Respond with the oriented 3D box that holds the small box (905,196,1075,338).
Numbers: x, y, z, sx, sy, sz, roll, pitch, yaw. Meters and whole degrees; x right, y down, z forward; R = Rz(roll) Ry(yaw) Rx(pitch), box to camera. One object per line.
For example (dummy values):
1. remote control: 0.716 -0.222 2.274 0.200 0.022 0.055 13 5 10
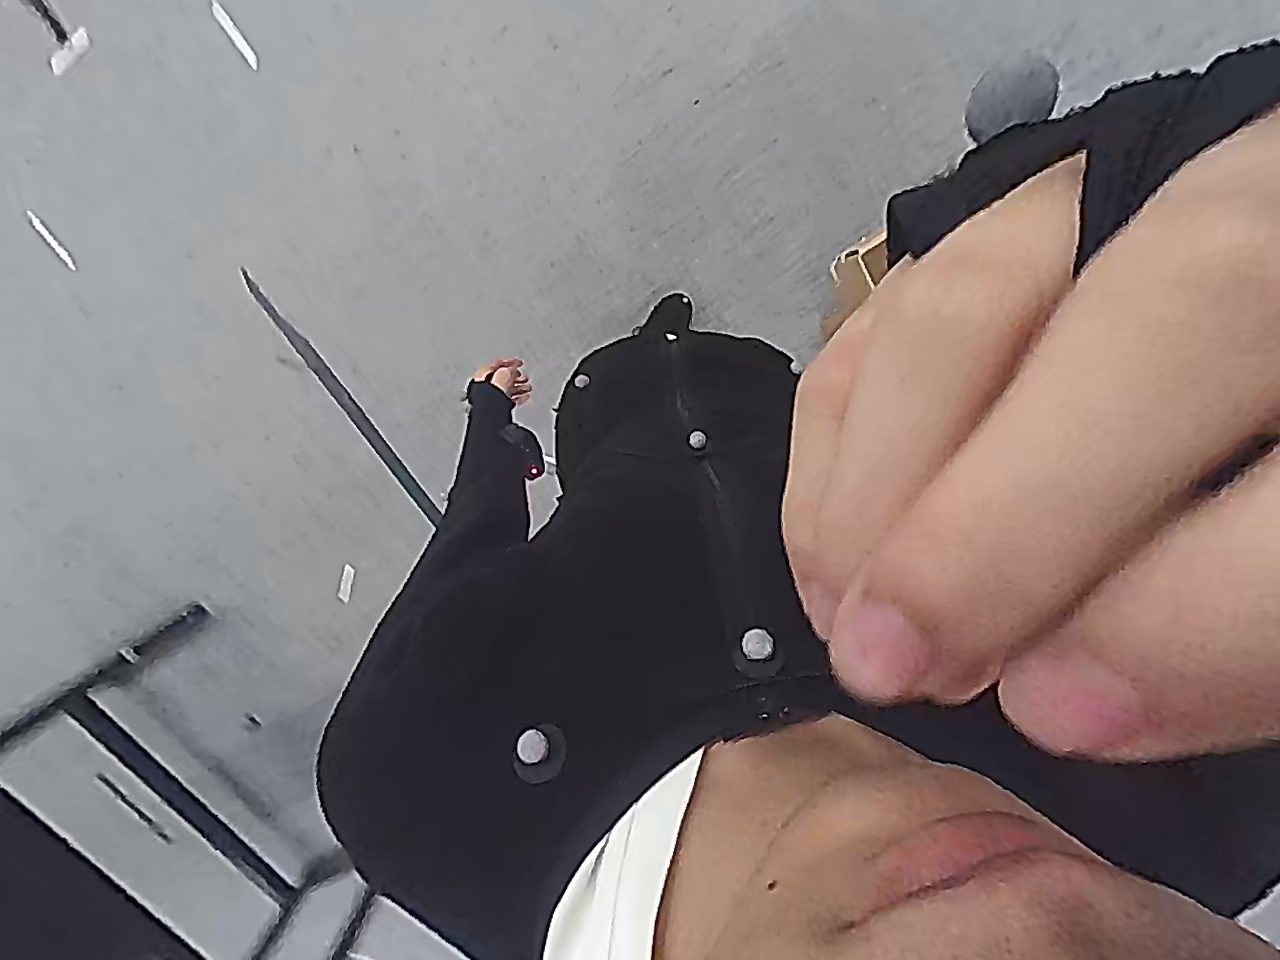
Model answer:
1. small box: 0.637 -0.387 1.005 0.179 0.176 0.168 -35 102 12
